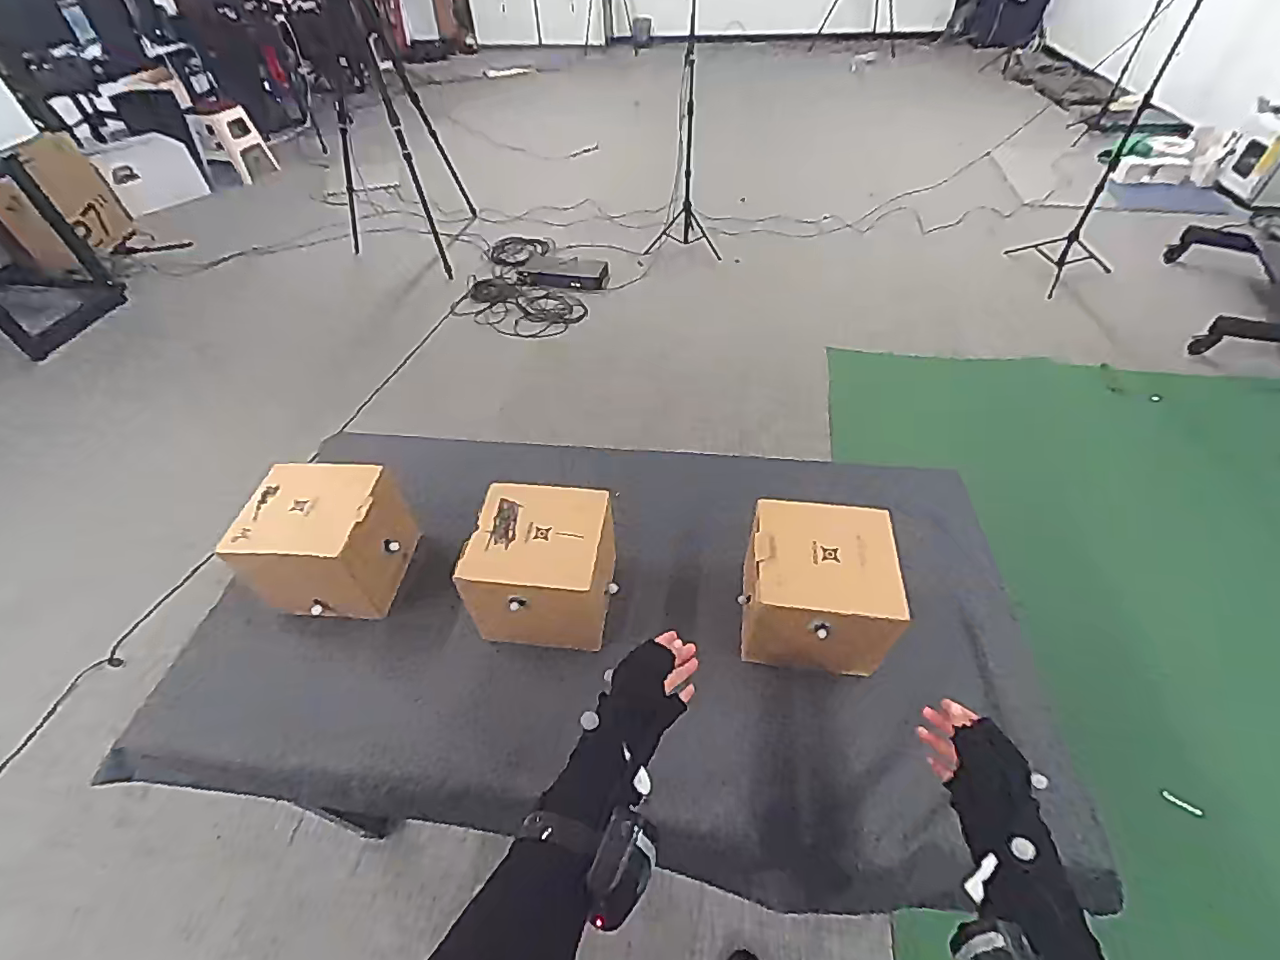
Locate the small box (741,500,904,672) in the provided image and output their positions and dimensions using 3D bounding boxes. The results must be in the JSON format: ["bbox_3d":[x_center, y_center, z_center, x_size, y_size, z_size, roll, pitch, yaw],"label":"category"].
[{"bbox_3d":[0.236,0.149,0.749,0.179,0.176,0.168,6,49,6],"label":"small box"}]

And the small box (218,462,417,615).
[{"bbox_3d":[-0.466,0.092,0.822,0.179,0.176,0.168,3,48,3],"label":"small box"}]

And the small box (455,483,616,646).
[{"bbox_3d":[-0.136,0.125,0.781,0.179,0.176,0.168,4,48,5],"label":"small box"}]
